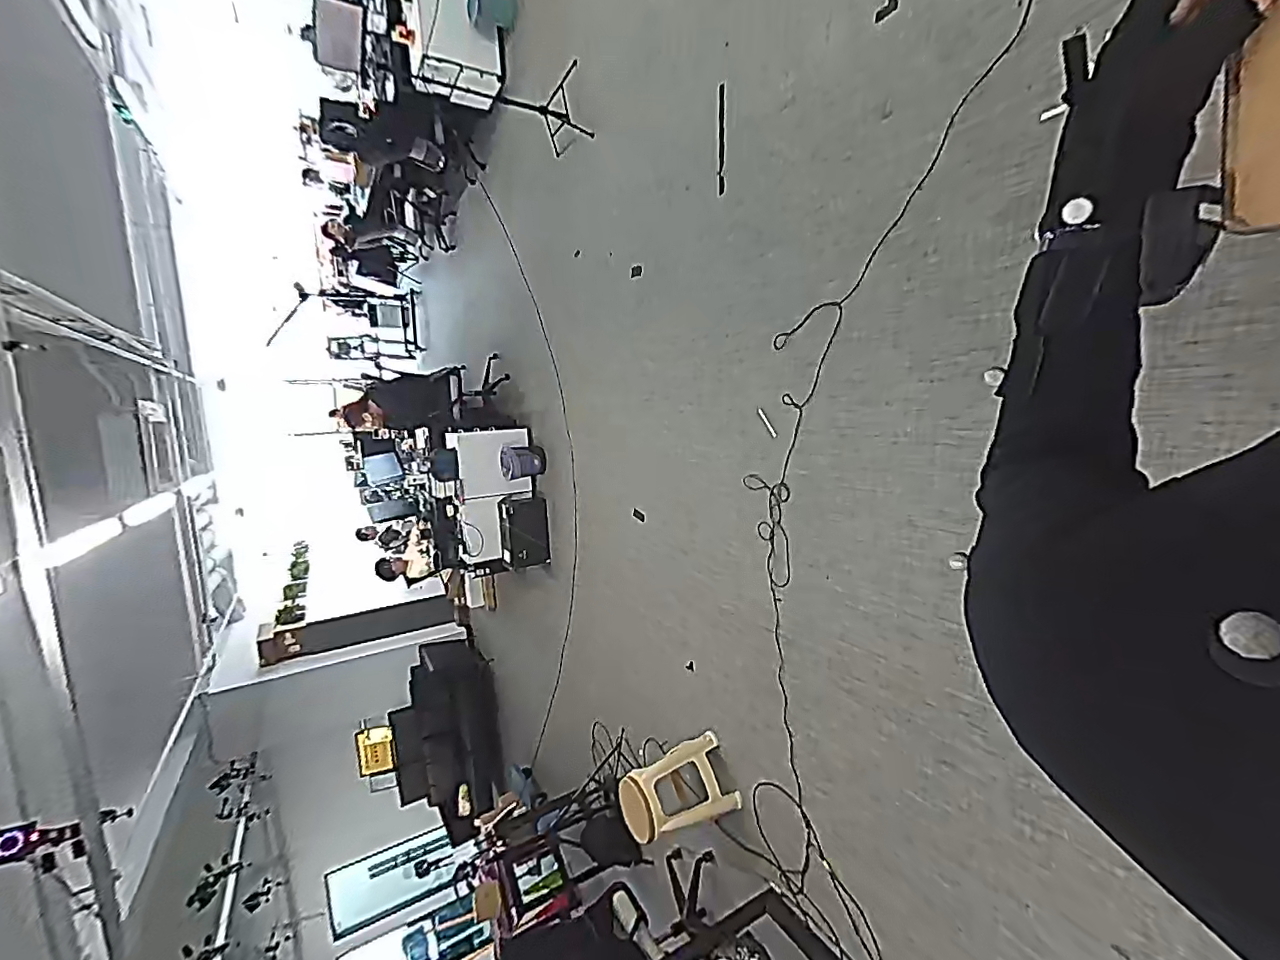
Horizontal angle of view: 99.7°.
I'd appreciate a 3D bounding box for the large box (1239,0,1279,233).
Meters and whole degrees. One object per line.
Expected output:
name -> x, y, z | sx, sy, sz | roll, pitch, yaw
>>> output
large box -> 0.571, -0.325, 0.222 | 0.408, 0.320, 0.320 | 6, 110, 56
